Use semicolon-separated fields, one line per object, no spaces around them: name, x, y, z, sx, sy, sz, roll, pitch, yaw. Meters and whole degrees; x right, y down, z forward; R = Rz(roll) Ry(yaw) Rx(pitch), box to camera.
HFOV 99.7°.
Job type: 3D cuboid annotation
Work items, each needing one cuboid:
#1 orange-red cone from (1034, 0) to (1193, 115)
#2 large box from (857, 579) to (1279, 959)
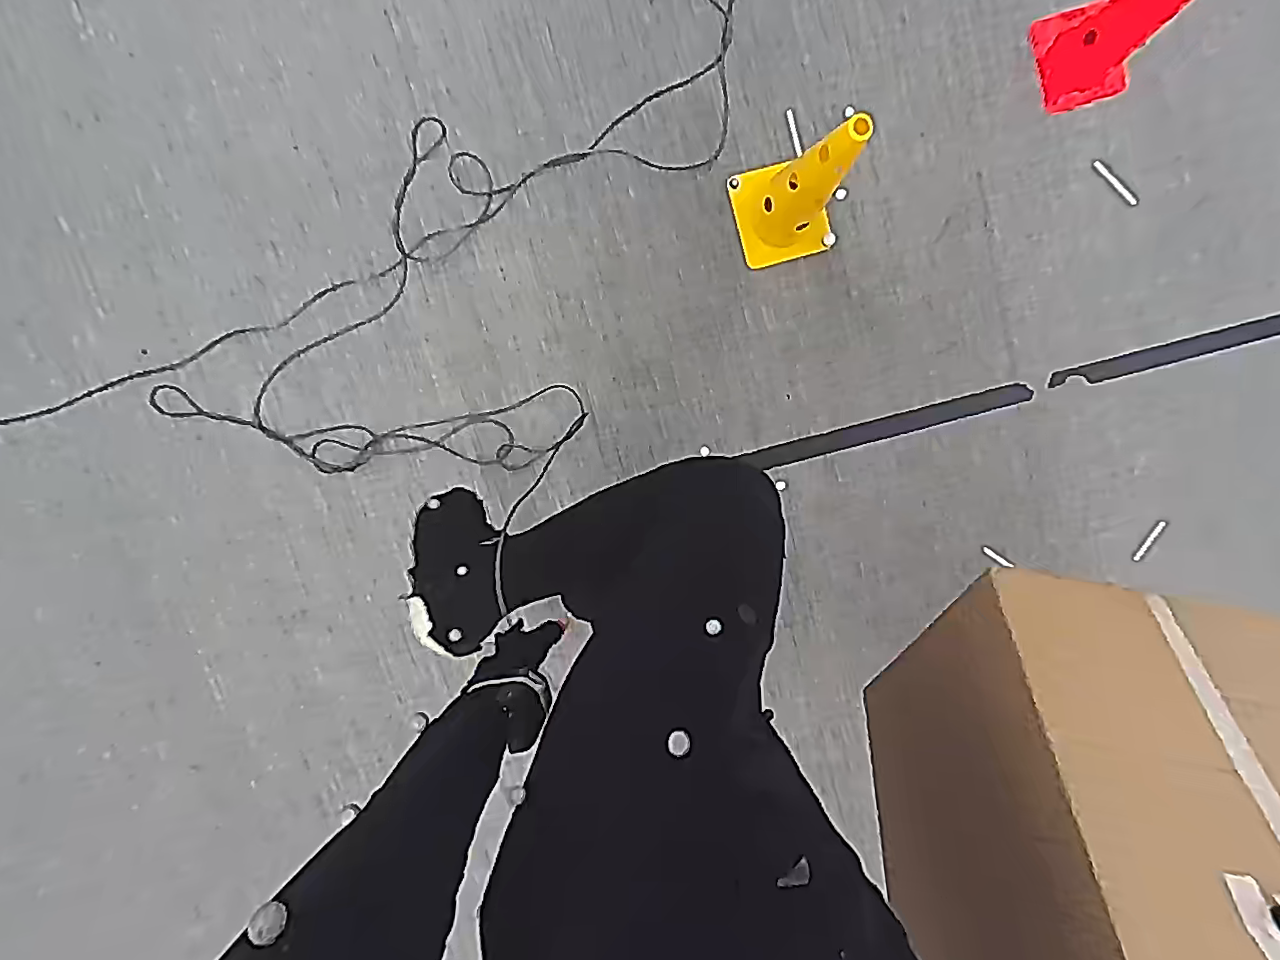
orange-red cone;0.983;-0.904;1.020;0.199;0.360;0.198;-18;97;-1
large box;0.440;0.365;0.513;0.320;0.408;0.320;11;137;2
